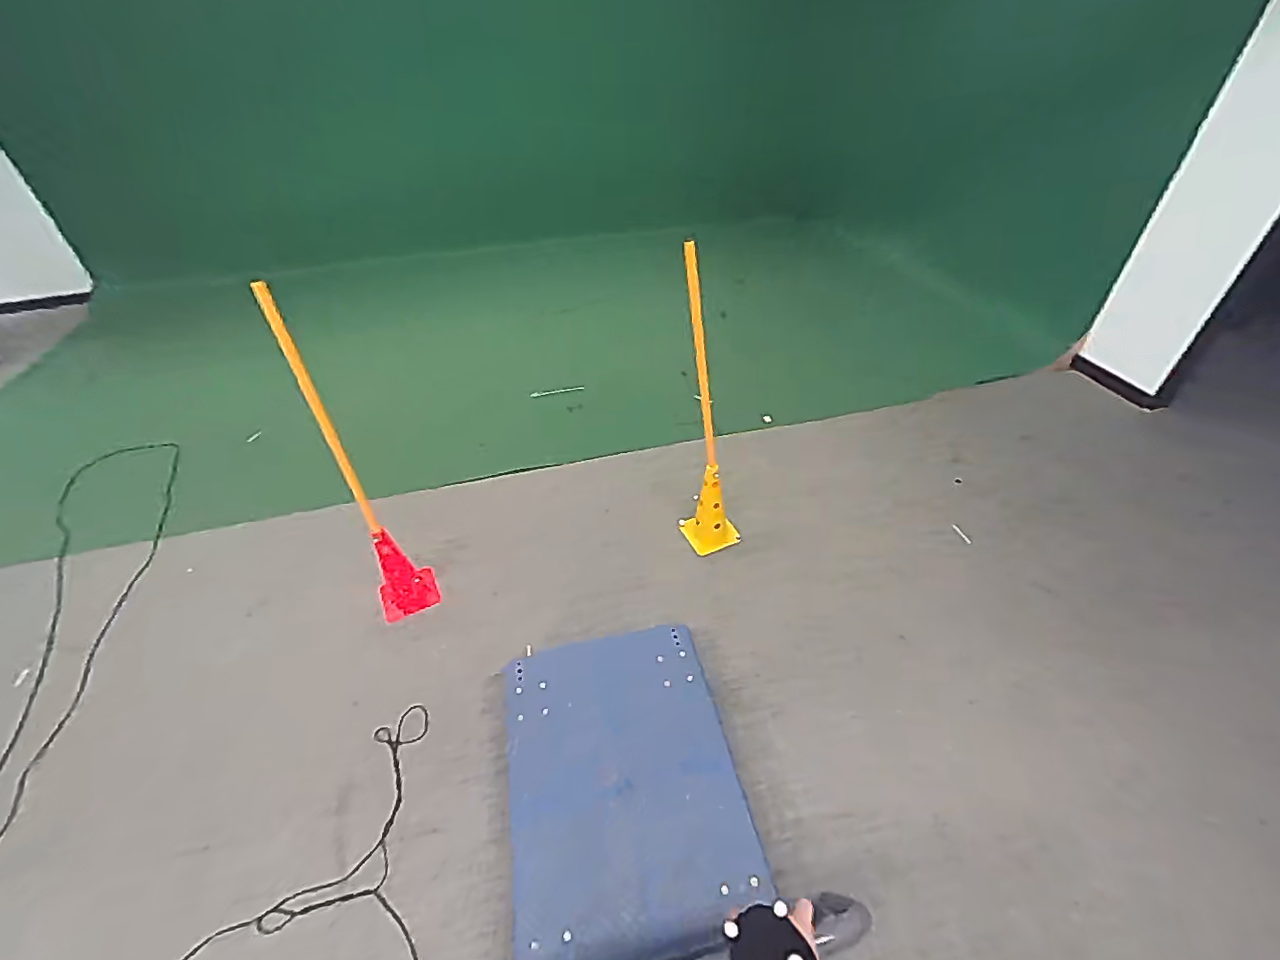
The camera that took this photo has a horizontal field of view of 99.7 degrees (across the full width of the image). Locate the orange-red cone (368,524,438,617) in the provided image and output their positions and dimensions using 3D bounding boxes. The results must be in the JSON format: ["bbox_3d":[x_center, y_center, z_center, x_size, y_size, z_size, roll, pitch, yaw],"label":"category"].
[{"bbox_3d":[-0.882,0.290,1.920,0.199,0.360,0.198,-22,45,-18],"label":"orange-red cone"}]
